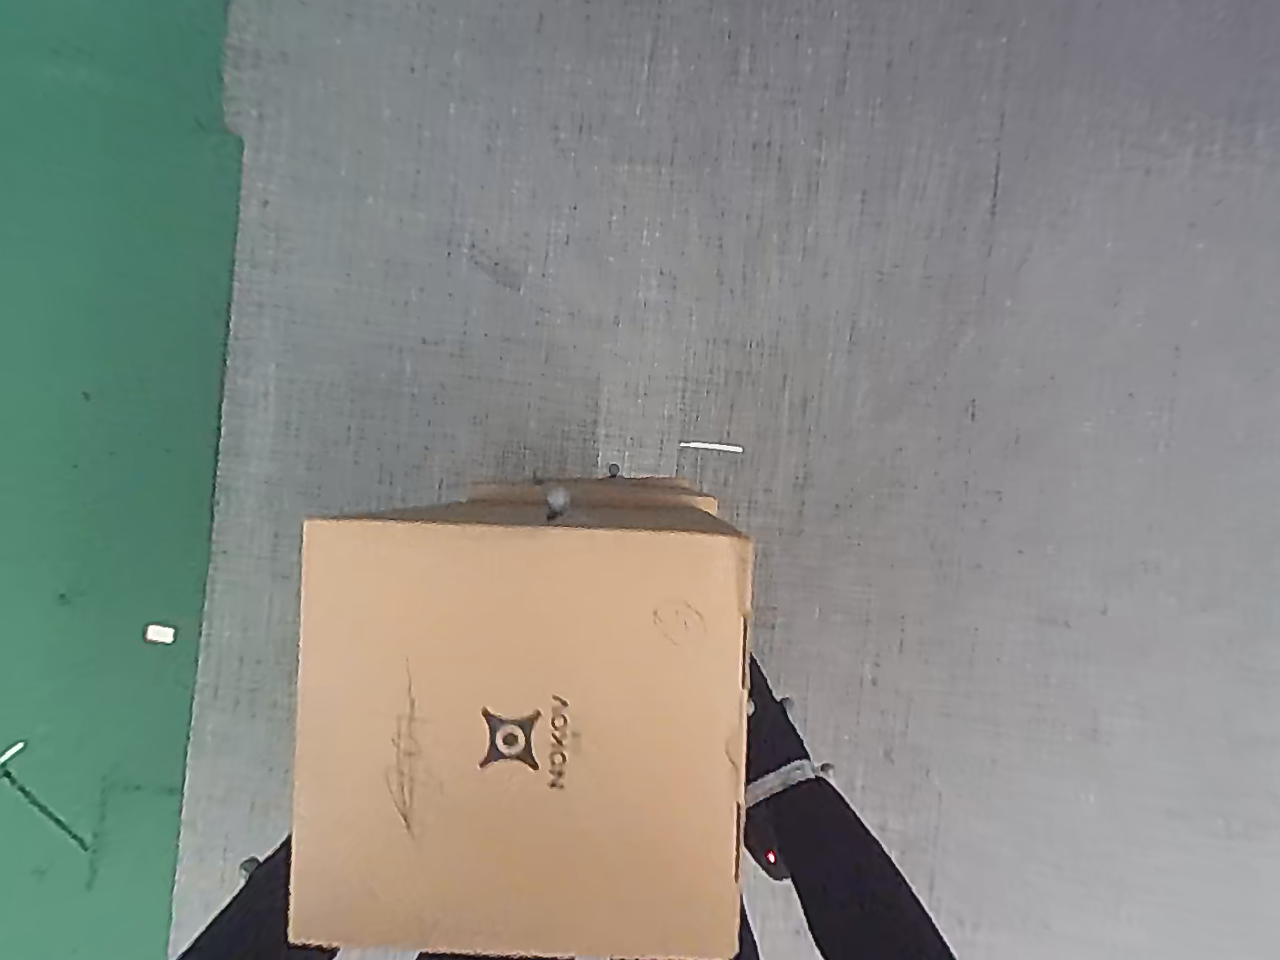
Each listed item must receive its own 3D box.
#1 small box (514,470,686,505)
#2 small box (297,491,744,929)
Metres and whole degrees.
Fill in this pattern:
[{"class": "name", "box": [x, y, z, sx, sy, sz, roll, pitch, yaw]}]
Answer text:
[{"class": "small box", "box": [-0.043, 0.074, 0.627, 0.179, 0.176, 0.168, 1, 90, 1]}, {"class": "small box", "box": [-0.048, 0.094, 0.299, 0.179, 0.176, 0.168, 3, 90, 2]}]
